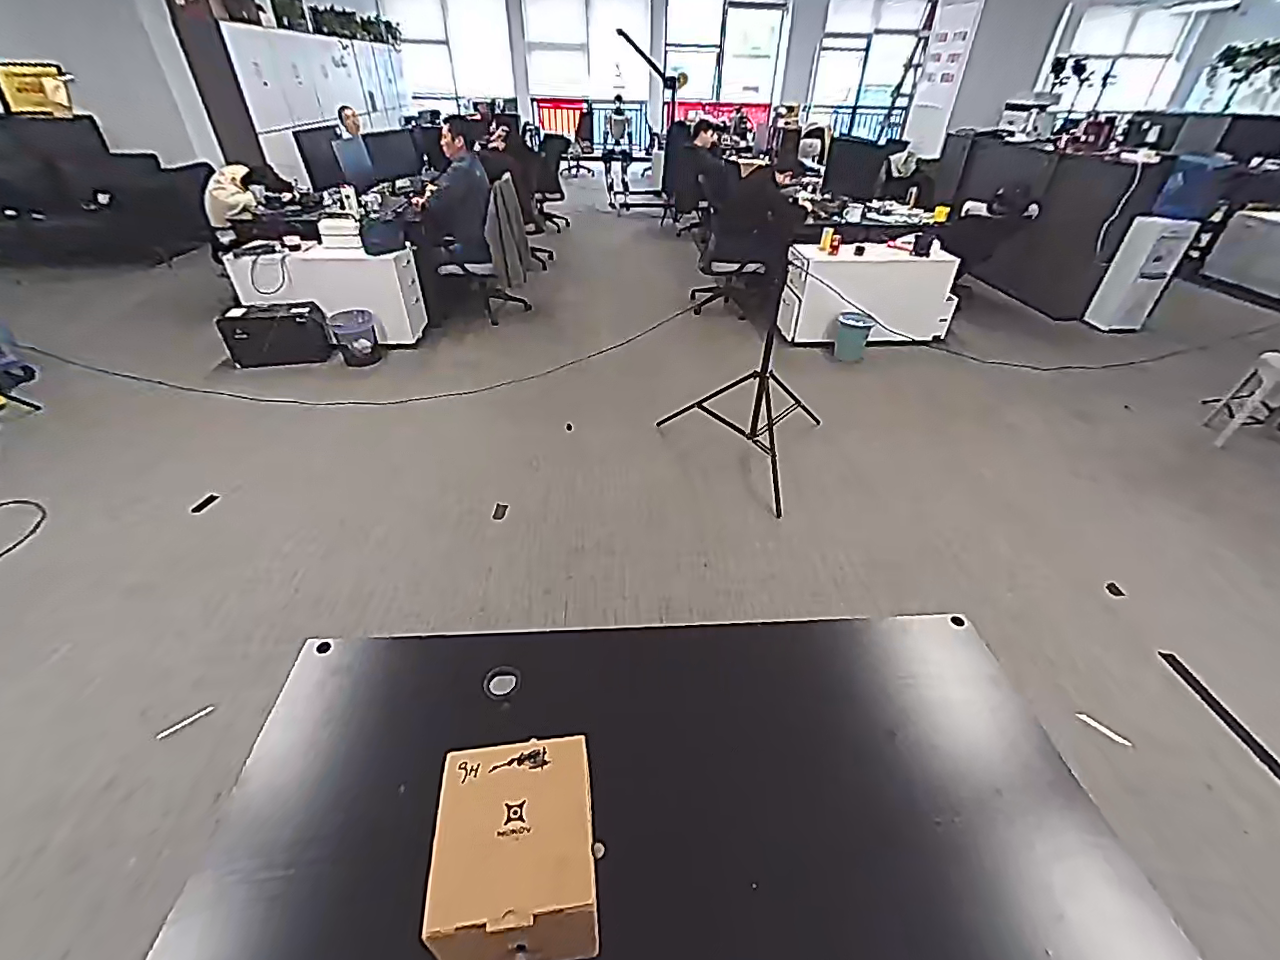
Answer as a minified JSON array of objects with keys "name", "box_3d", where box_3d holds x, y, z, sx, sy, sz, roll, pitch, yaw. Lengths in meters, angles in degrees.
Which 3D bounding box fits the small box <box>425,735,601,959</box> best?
[{"name":"small box","box_3d":[-0.137,0.435,0.637,0.168,0.176,0.179,-5,37,-7]}]
